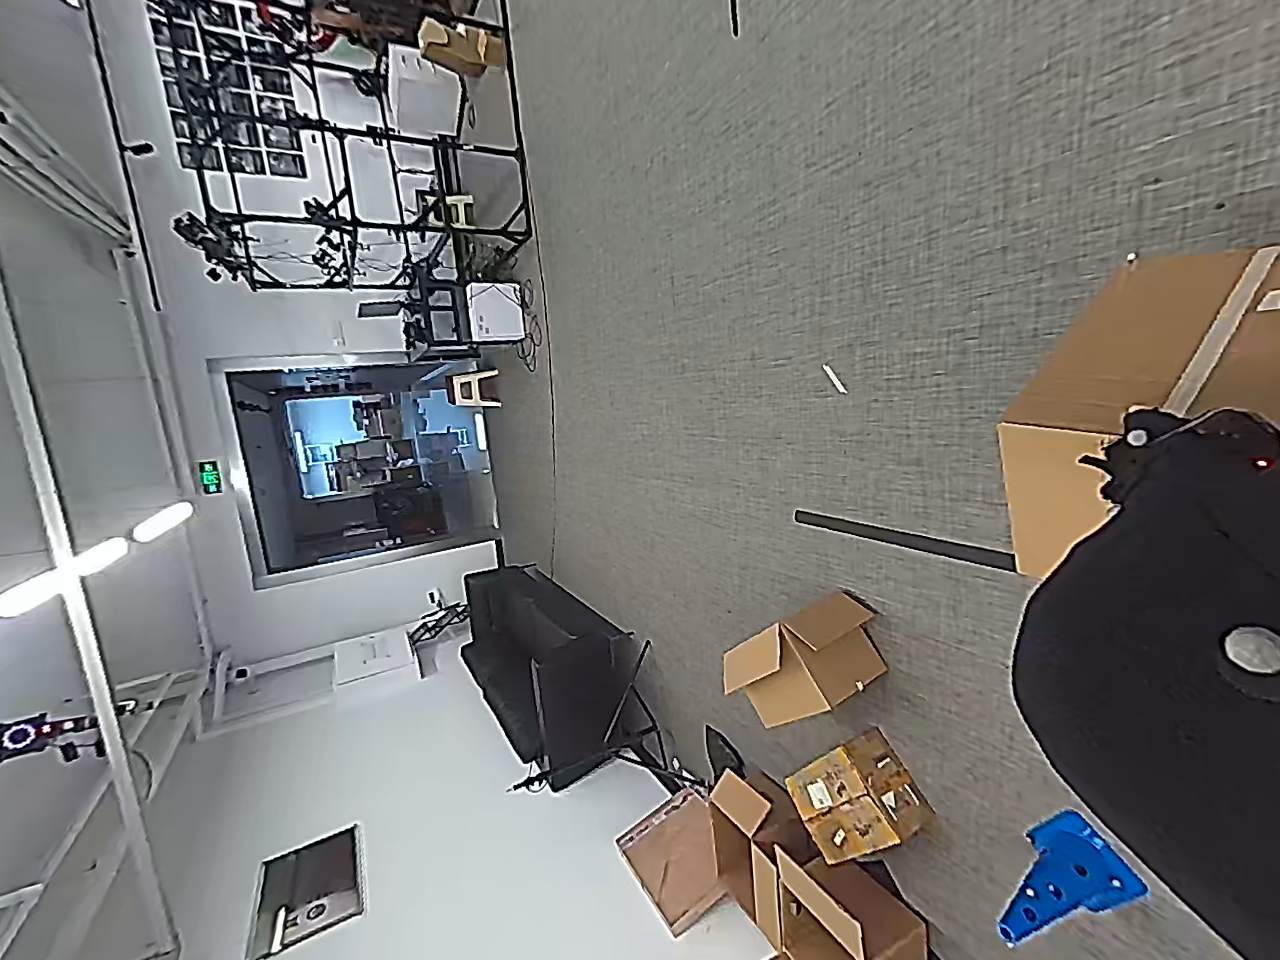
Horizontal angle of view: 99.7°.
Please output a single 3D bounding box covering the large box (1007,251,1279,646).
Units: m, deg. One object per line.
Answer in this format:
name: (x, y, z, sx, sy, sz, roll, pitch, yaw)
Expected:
large box: (0.759, -0.058, 0.723, 0.320, 0.408, 0.320, 21, 147, 52)
